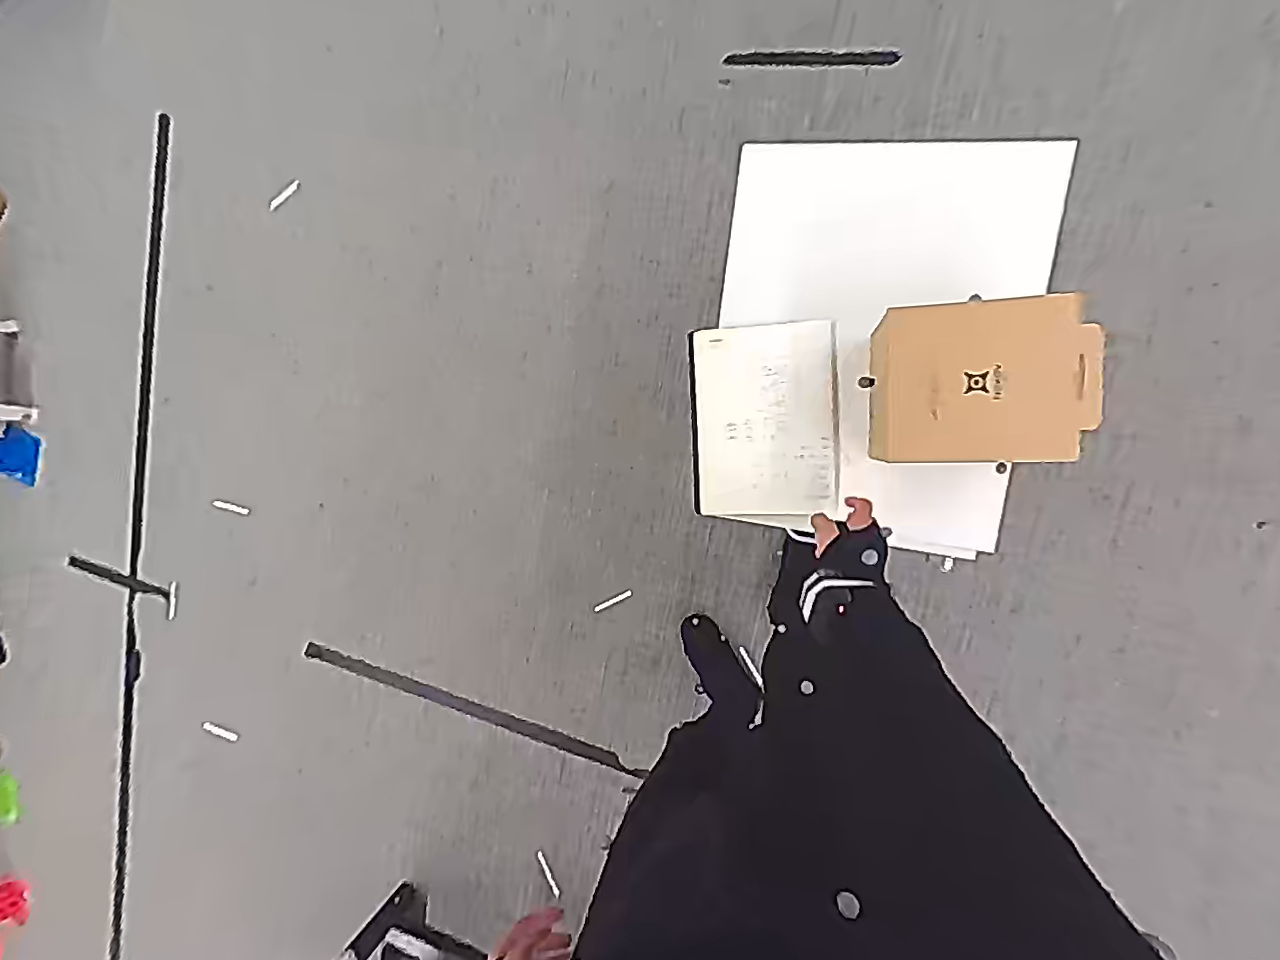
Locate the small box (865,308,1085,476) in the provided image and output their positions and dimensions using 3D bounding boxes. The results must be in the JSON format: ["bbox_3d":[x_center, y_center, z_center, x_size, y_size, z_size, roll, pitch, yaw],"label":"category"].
[{"bbox_3d":[0.368,-0.093,0.626,0.179,0.176,0.168,0,93,16],"label":"small box"}]
